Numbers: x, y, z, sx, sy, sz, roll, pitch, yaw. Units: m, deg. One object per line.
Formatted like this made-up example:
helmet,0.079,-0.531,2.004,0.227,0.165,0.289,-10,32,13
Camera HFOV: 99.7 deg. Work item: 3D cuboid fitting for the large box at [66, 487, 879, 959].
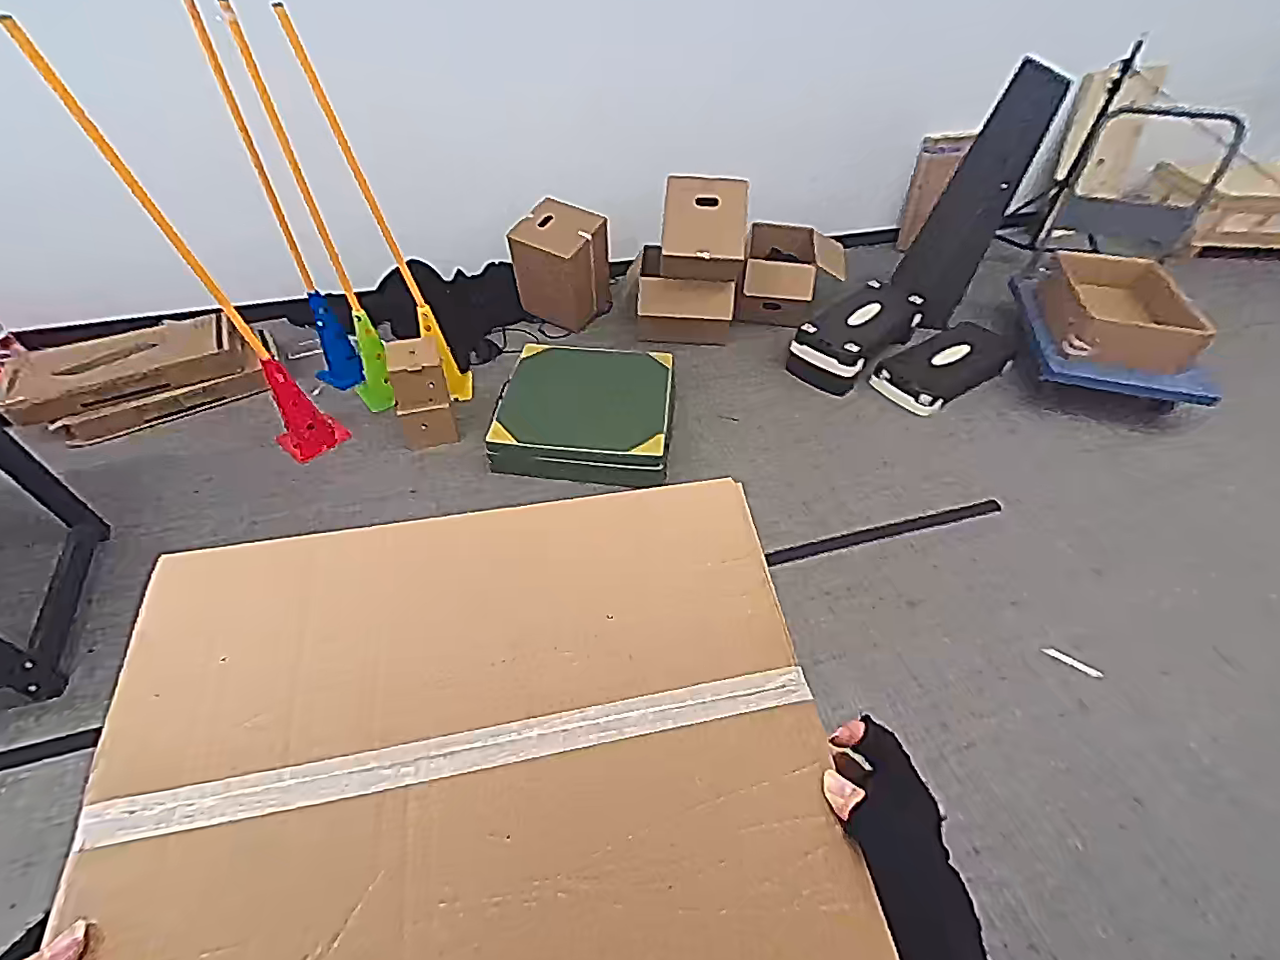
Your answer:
large box,-0.102,0.238,0.450,0.408,0.320,0.320,-8,58,-8
